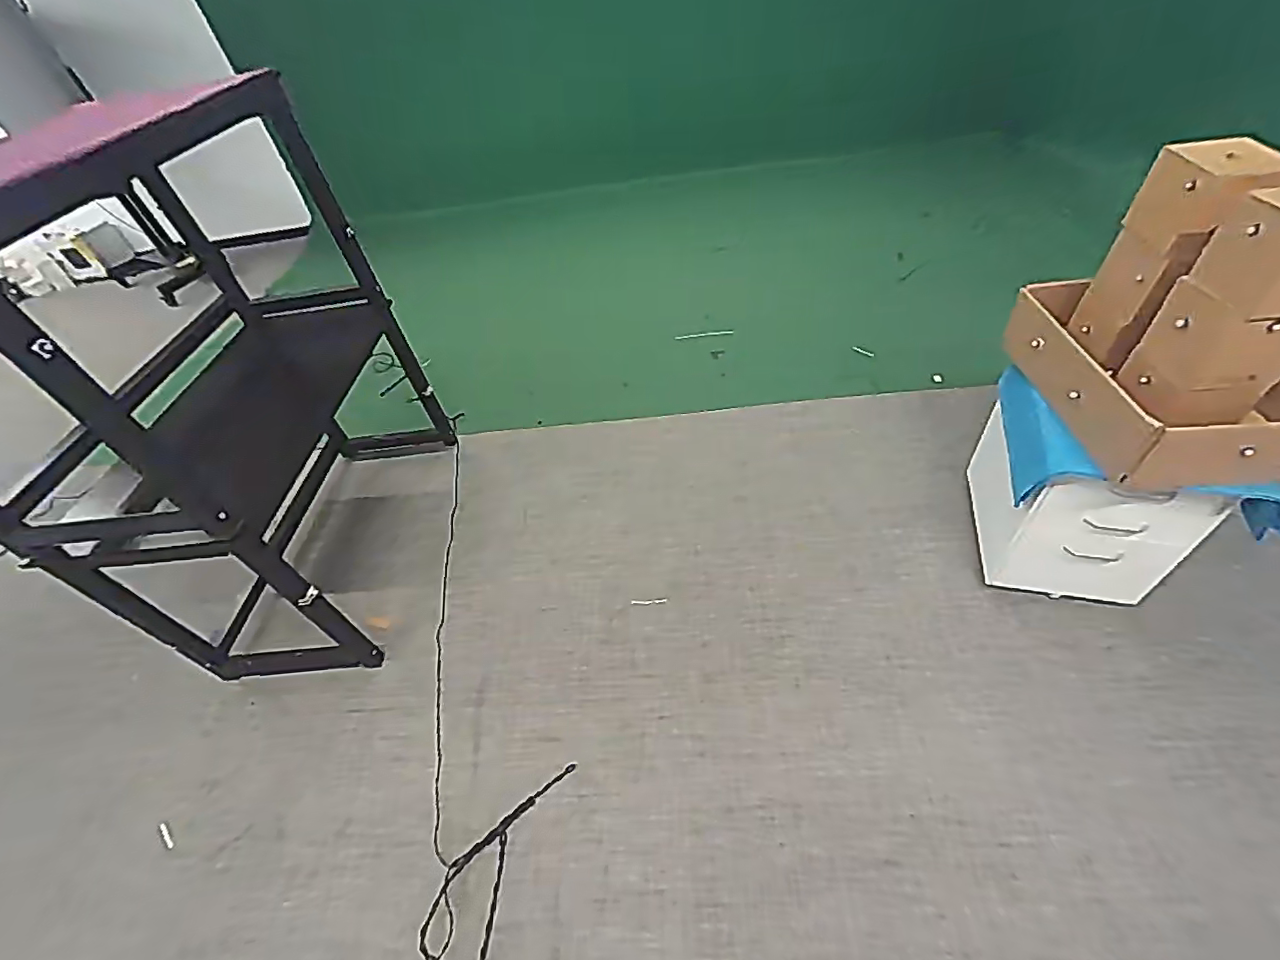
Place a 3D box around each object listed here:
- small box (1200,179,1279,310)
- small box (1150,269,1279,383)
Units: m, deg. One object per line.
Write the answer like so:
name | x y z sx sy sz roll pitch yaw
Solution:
small box | 1.188 -0.426 0.968 0.168 0.176 0.179 -3 46 8
small box | 1.203 -0.316 1.092 0.168 0.176 0.179 -5 45 7
